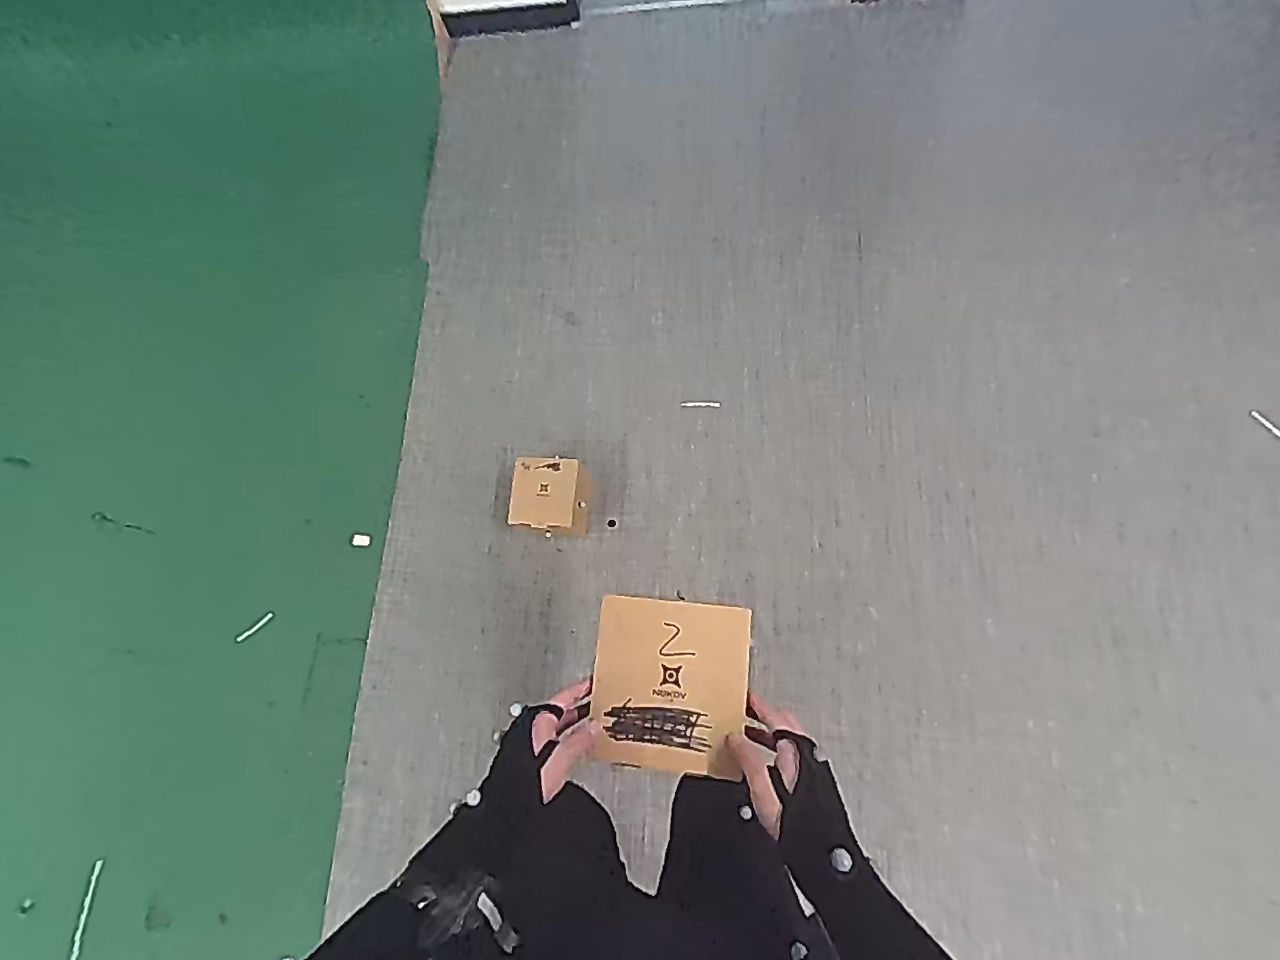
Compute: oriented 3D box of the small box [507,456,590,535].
[{"bbox_3d":[-0.232,0.045,1.417,0.168,0.176,0.179,3,77,8],"label":"small box"}]
